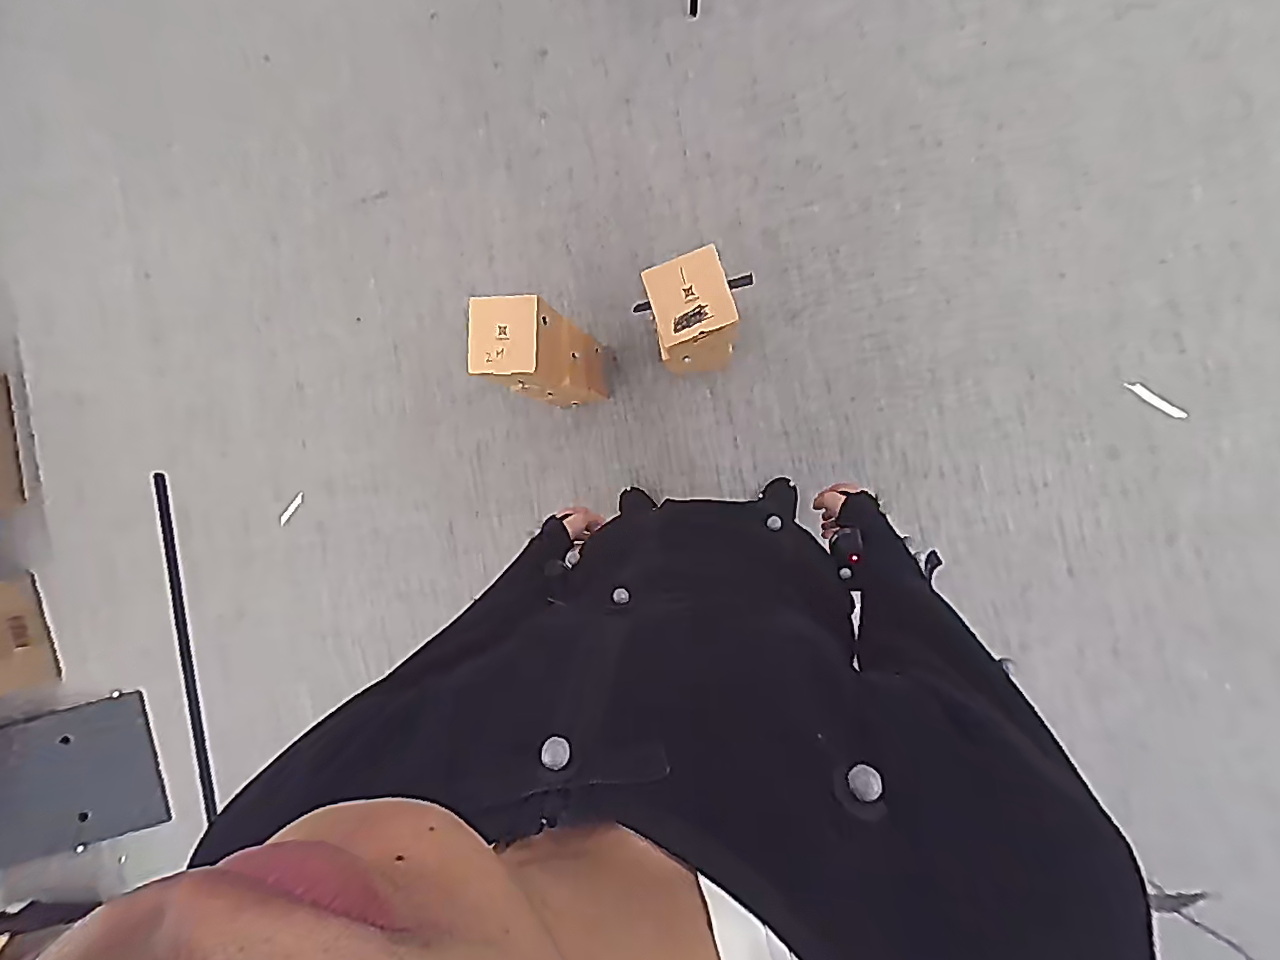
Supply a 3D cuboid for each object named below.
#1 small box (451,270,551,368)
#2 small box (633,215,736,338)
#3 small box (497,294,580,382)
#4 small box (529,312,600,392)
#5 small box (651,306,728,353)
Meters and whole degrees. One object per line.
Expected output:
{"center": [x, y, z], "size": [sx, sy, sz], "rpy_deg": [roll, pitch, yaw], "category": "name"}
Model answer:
{"center": [-0.305, -0.355, 1.214], "size": [0.168, 0.176, 0.179], "rpy_deg": [2, 93, 11], "category": "small box"}
{"center": [0.101, -0.413, 1.137], "size": [0.168, 0.176, 0.179], "rpy_deg": [-18, 89, 10], "category": "small box"}
{"center": [-0.258, -0.353, 1.372], "size": [0.168, 0.176, 0.179], "rpy_deg": [-4, 92, 11], "category": "small box"}
{"center": [-0.218, -0.356, 1.528], "size": [0.168, 0.176, 0.179], "rpy_deg": [-7, 91, 12], "category": "small box"}
{"center": [0.114, -0.422, 1.302], "size": [0.168, 0.176, 0.179], "rpy_deg": [-11, 90, 10], "category": "small box"}
